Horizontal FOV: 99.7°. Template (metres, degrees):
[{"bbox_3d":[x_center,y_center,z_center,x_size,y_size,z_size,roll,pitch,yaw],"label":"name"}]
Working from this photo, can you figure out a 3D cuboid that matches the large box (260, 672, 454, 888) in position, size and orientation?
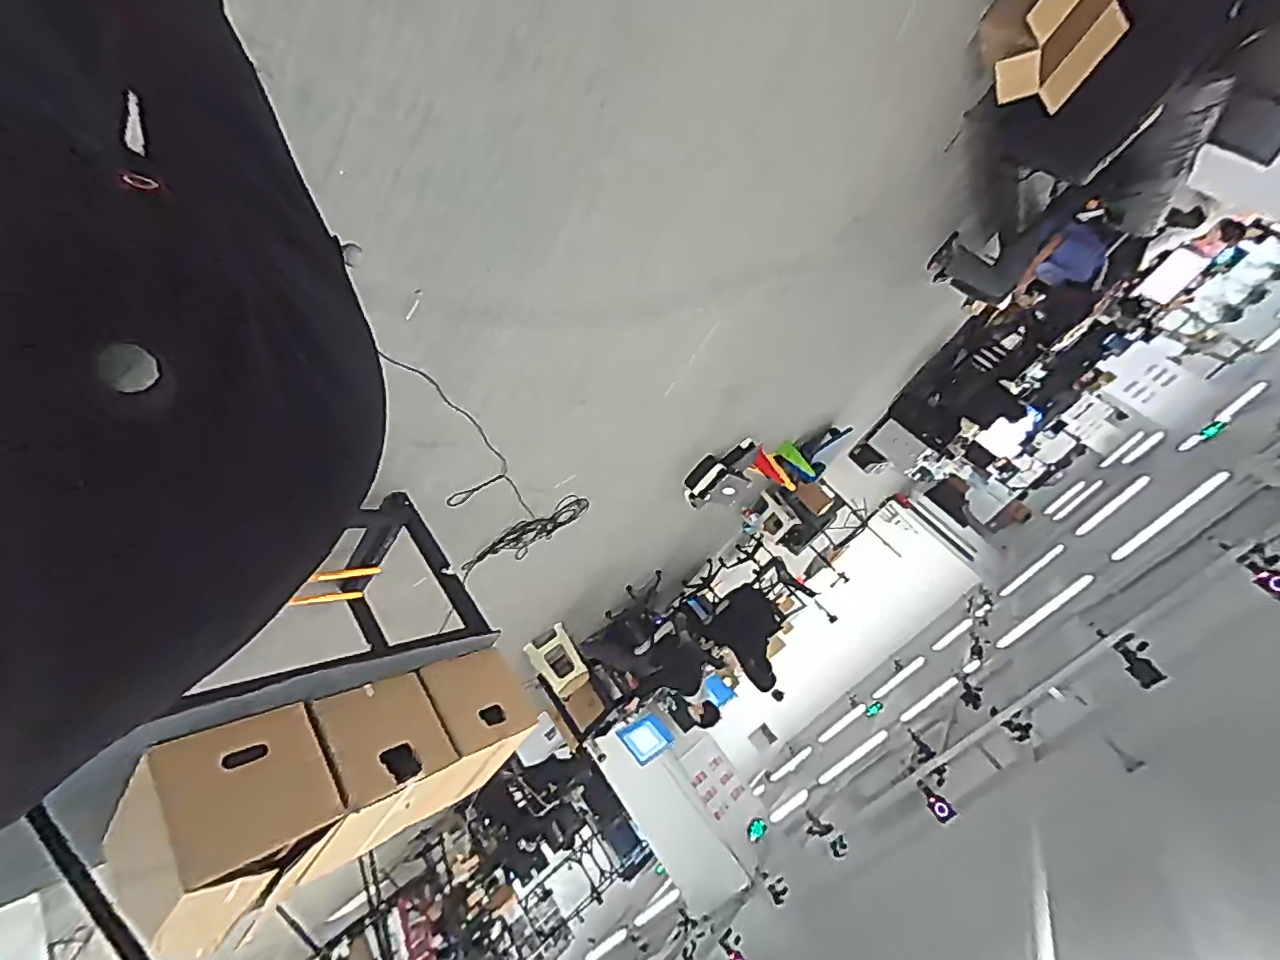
[{"bbox_3d":[-0.801,0.819,1.519,0.408,0.320,0.320,-53,154,21],"label":"large box"}]
